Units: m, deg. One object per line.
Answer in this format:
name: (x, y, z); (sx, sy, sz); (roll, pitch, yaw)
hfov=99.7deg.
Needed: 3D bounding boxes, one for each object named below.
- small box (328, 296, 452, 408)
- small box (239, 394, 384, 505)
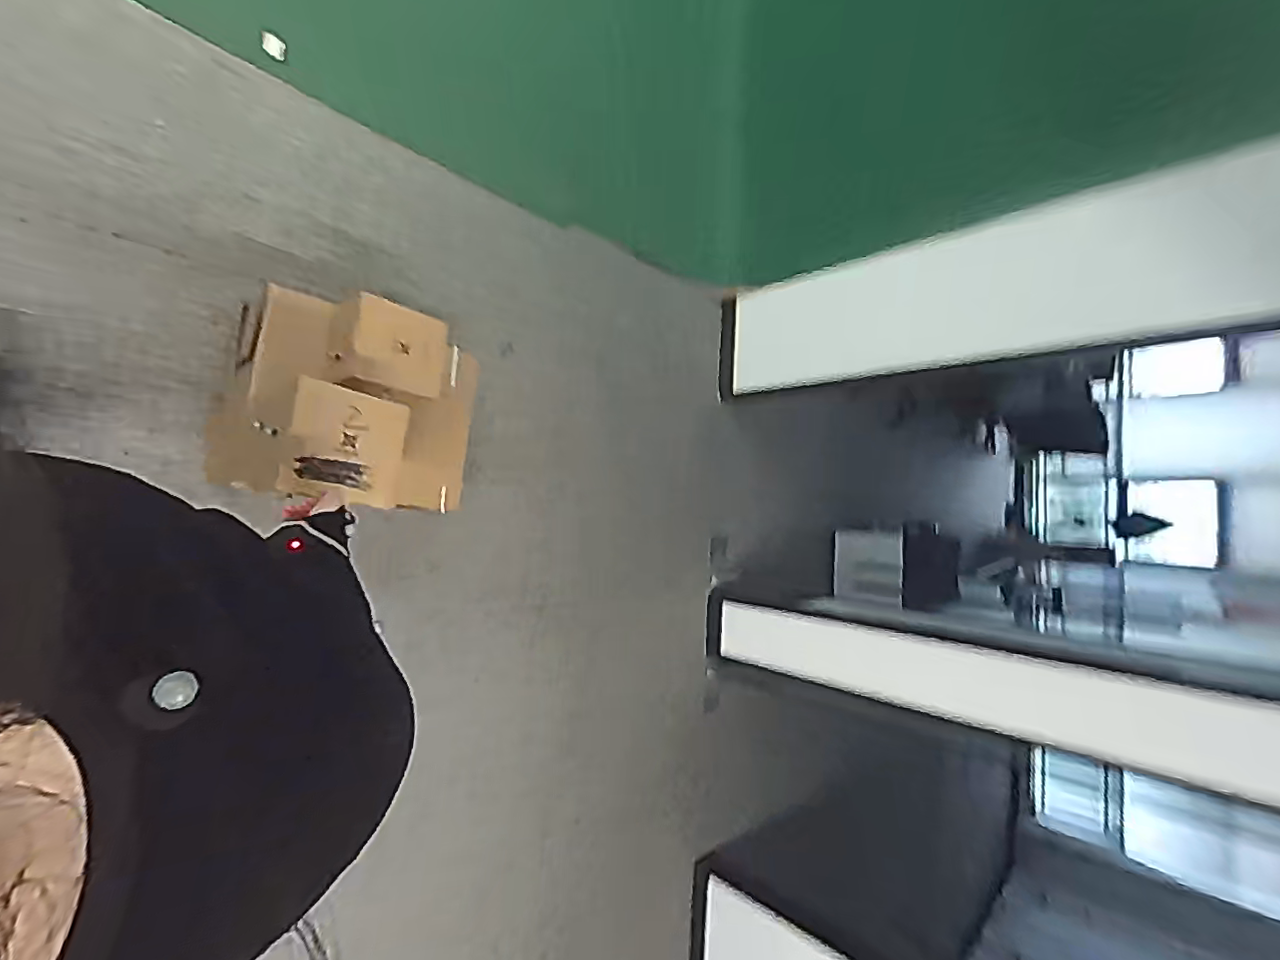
small box: (-0.518, -0.251, 1.115); (0.179, 0.176, 0.168); (13, 81, -46)
small box: (-0.614, -0.051, 1.011); (0.179, 0.176, 0.168); (16, 79, -46)
